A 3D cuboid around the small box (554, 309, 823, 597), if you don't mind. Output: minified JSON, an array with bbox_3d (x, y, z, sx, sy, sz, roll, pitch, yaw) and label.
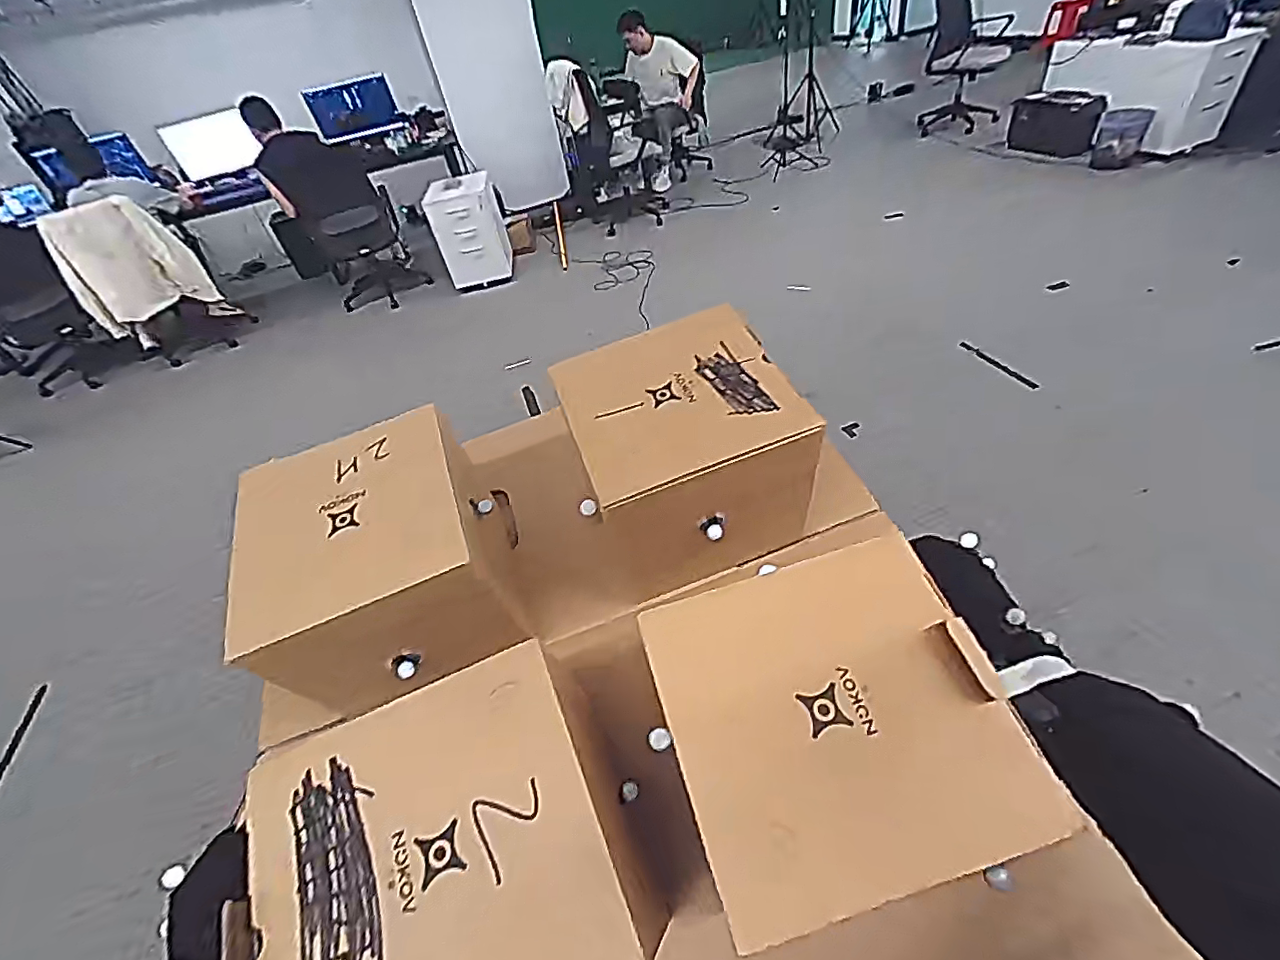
[{"bbox_3d":[0.040,-0.019,0.495,0.179,0.176,0.168,-20,53,-4],"label":"small box"}]

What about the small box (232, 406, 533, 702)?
[{"bbox_3d":[-0.206,0.073,0.471,0.168,0.176,0.179,-21,53,-6],"label":"small box"}]
